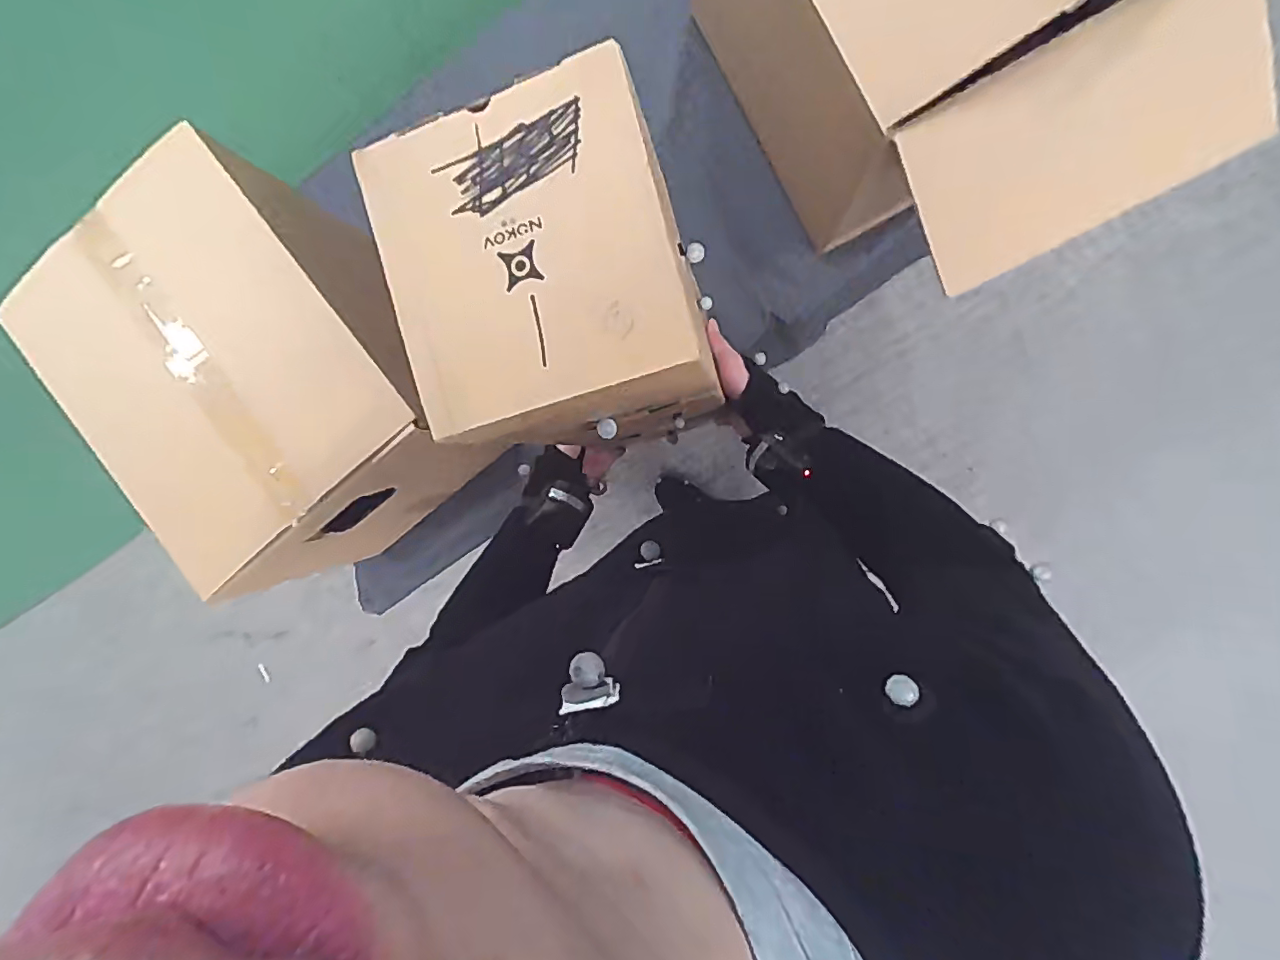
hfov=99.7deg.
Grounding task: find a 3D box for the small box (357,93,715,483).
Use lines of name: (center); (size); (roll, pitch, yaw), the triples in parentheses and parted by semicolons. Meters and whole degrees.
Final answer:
small box: (-0.049, -0.107, 0.375); (0.168, 0.176, 0.179); (-14, 94, 13)
